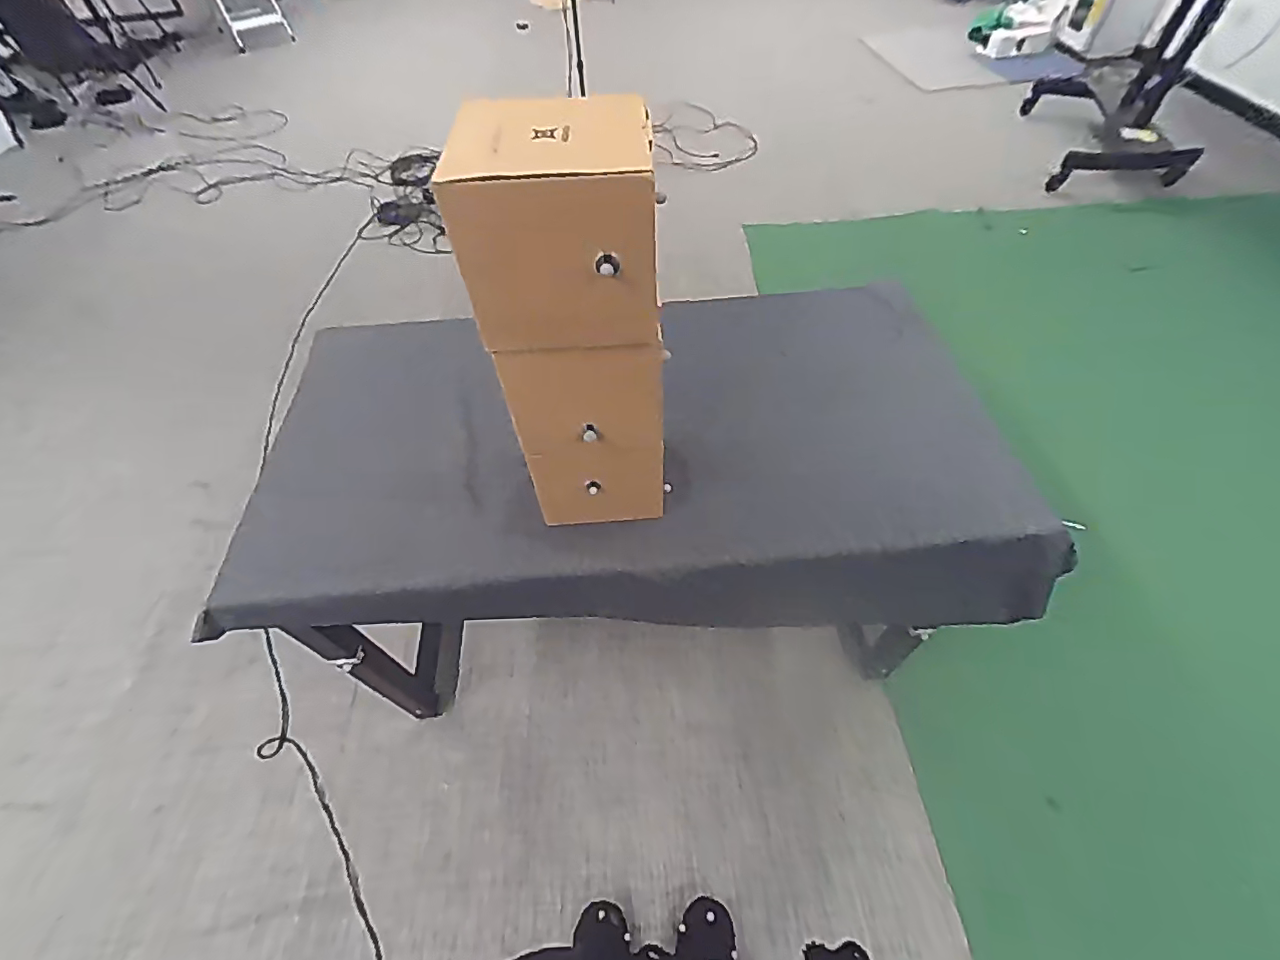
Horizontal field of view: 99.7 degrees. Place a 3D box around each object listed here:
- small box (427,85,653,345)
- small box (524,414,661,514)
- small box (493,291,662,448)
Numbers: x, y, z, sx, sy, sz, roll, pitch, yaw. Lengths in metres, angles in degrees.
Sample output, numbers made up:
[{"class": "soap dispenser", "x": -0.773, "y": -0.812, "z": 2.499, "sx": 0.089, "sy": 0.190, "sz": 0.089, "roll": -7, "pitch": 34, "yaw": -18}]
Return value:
[{"class": "small box", "x": -0.077, "y": -0.250, "z": 0.525, "sx": 0.179, "sy": 0.176, "sz": 0.168, "roll": -4, "pitch": 53, "yaw": 1}, {"class": "small box", "x": -0.062, "y": -0.065, "z": 0.793, "sx": 0.179, "sy": 0.176, "sz": 0.168, "roll": -5, "pitch": 54, "yaw": 0}, {"class": "small box", "x": -0.068, "y": -0.156, "z": 0.661, "sx": 0.179, "sy": 0.176, "sz": 0.168, "roll": -6, "pitch": 55, "yaw": -1}]
